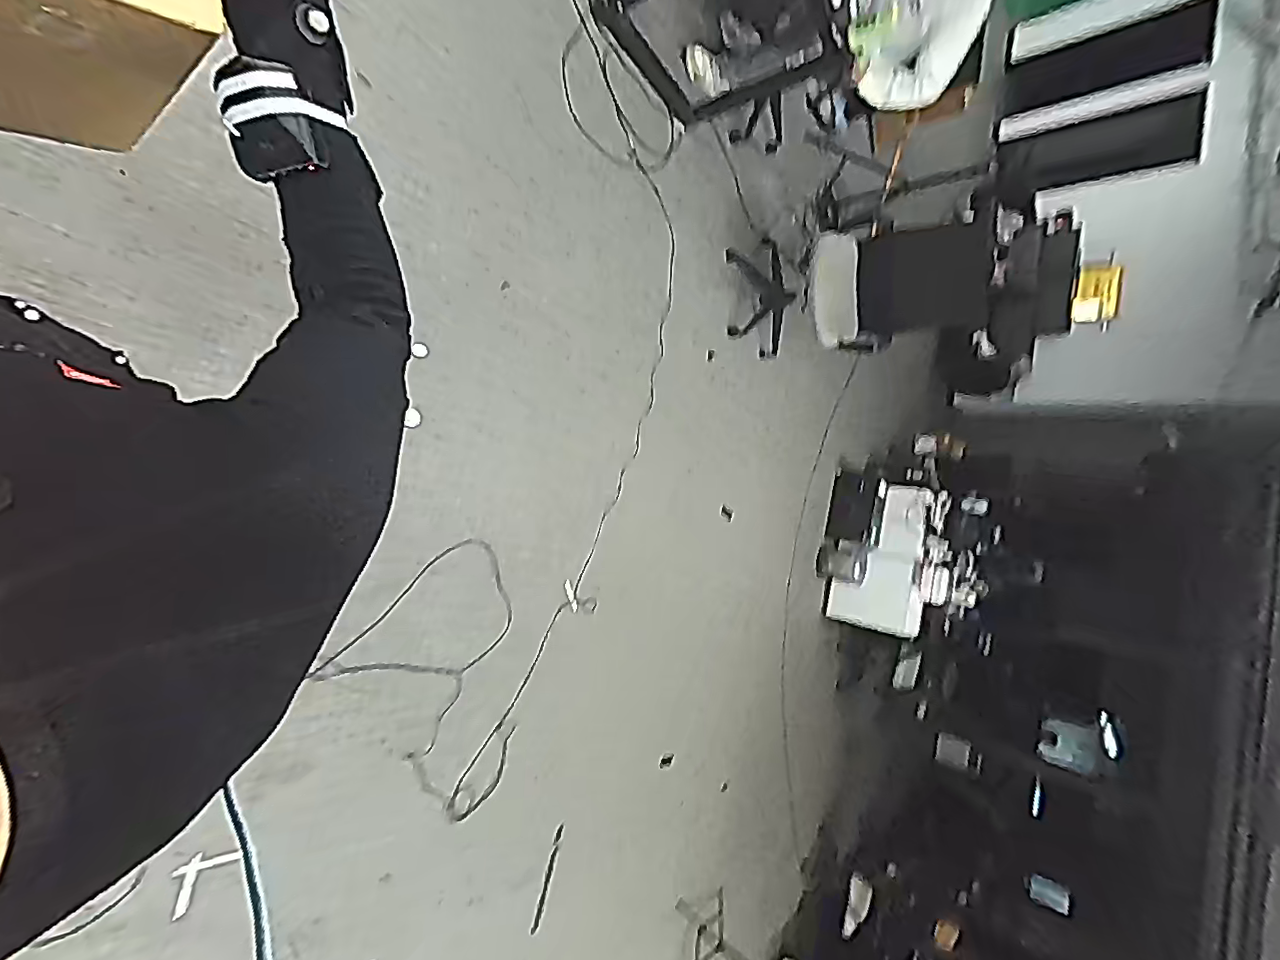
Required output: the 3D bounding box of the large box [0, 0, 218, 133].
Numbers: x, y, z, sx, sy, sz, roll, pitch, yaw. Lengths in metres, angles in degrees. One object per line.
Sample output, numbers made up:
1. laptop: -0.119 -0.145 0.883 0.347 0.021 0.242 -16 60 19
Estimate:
1. large box: -0.527 -0.426 0.262 0.408 0.320 0.320 -20 113 -50
